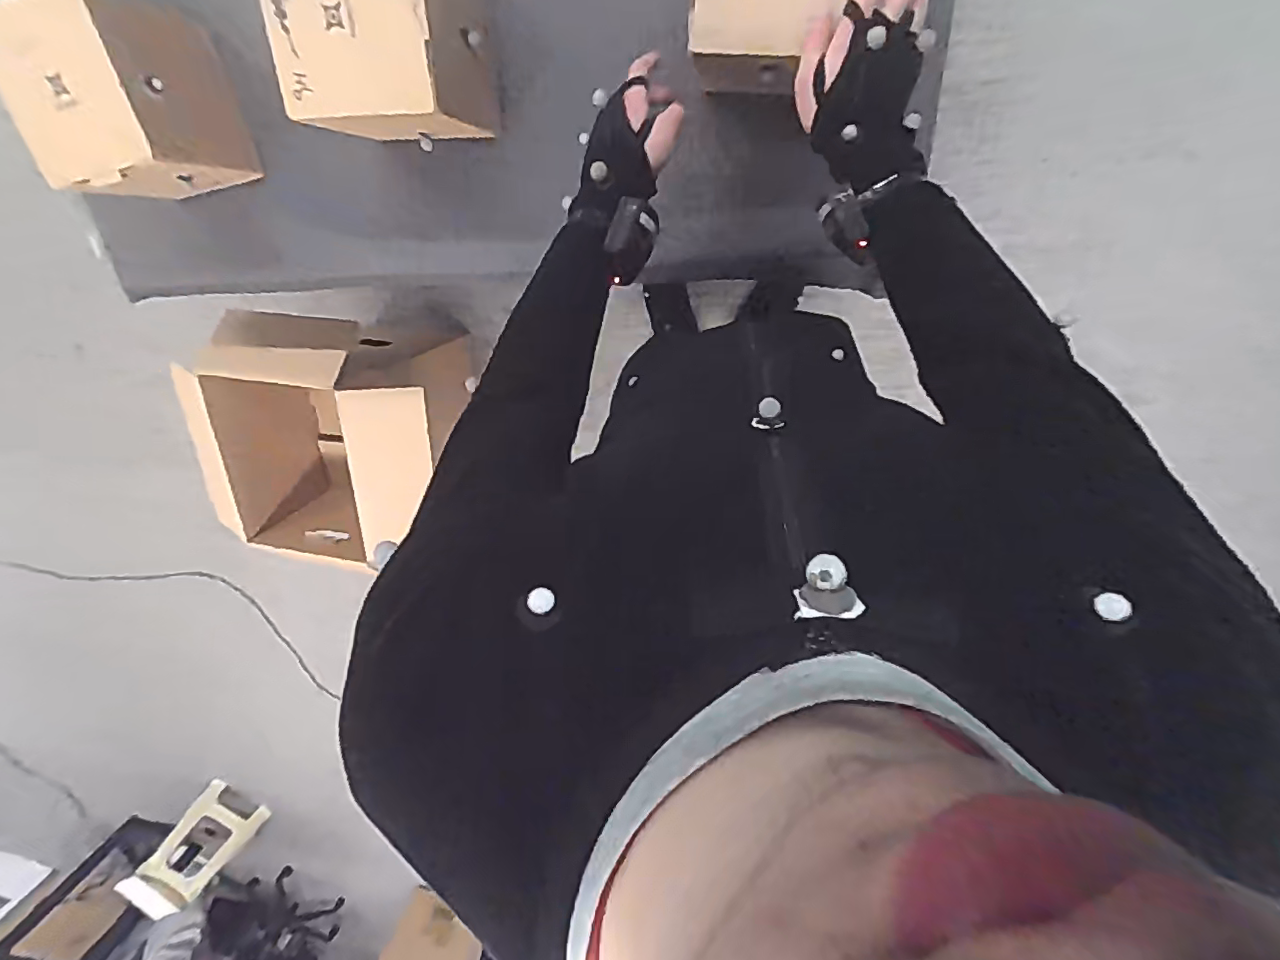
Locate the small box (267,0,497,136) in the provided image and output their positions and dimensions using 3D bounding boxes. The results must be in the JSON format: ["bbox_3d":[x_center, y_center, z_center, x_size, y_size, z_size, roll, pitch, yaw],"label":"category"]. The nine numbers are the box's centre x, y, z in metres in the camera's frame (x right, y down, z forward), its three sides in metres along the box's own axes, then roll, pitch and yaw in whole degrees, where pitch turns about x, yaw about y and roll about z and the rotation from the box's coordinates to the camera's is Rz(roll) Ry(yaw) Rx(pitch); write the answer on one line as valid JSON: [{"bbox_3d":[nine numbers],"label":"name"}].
[{"bbox_3d":[-0.272,-0.491,0.600,0.179,0.176,0.168,4,116,9],"label":"small box"}]

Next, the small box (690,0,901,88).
[{"bbox_3d":[0.151,-0.486,0.509,0.179,0.176,0.168,8,117,8],"label":"small box"}]

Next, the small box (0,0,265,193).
[{"bbox_3d":[-0.631,-0.477,0.686,0.168,0.176,0.179,-6,112,13],"label":"small box"}]
